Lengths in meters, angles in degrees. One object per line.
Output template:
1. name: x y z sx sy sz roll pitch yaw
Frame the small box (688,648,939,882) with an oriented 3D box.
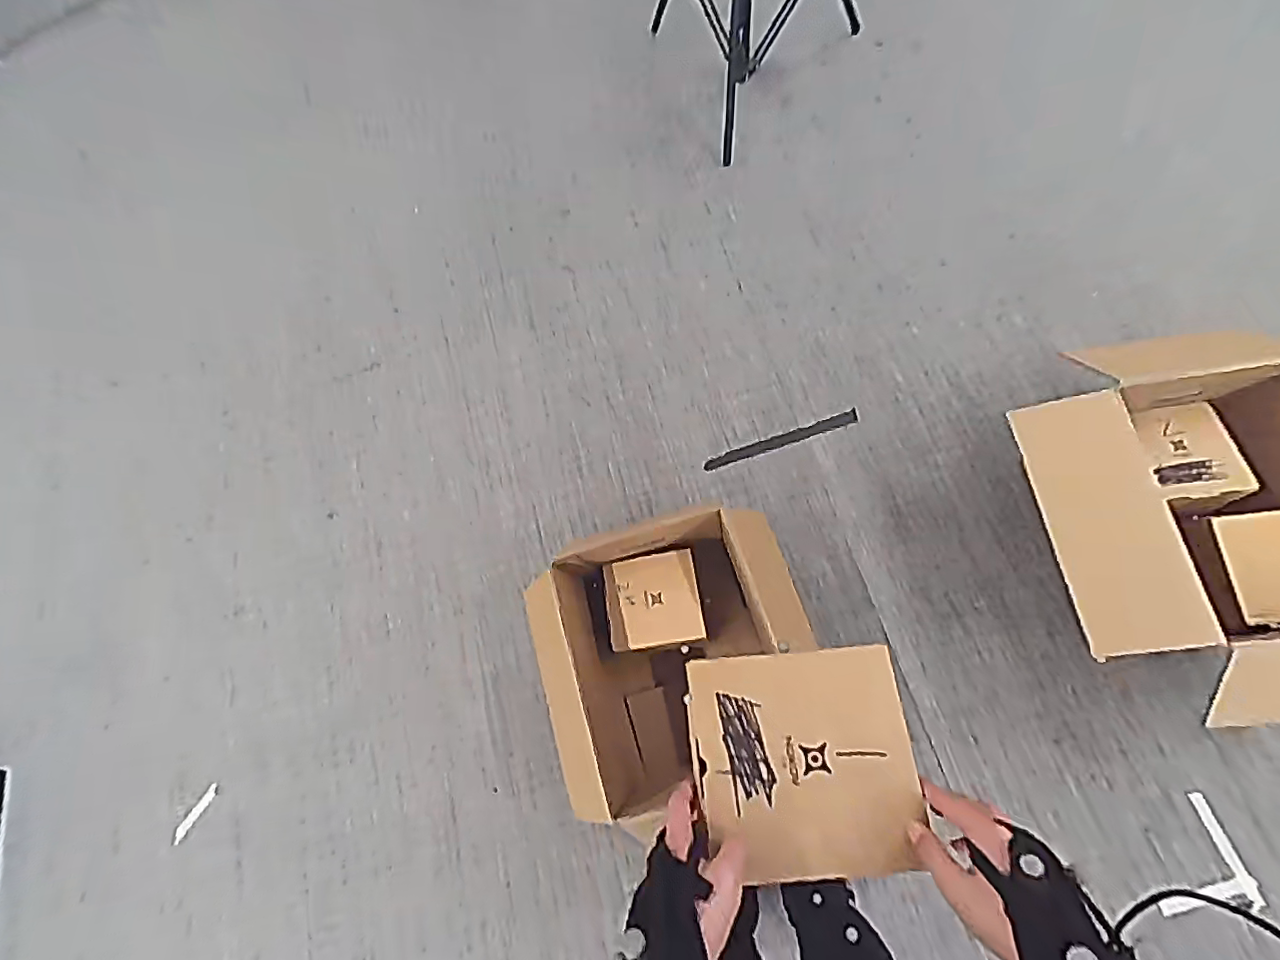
1. small box: 0.146 0.259 0.516 0.179 0.176 0.168 -7 68 5
